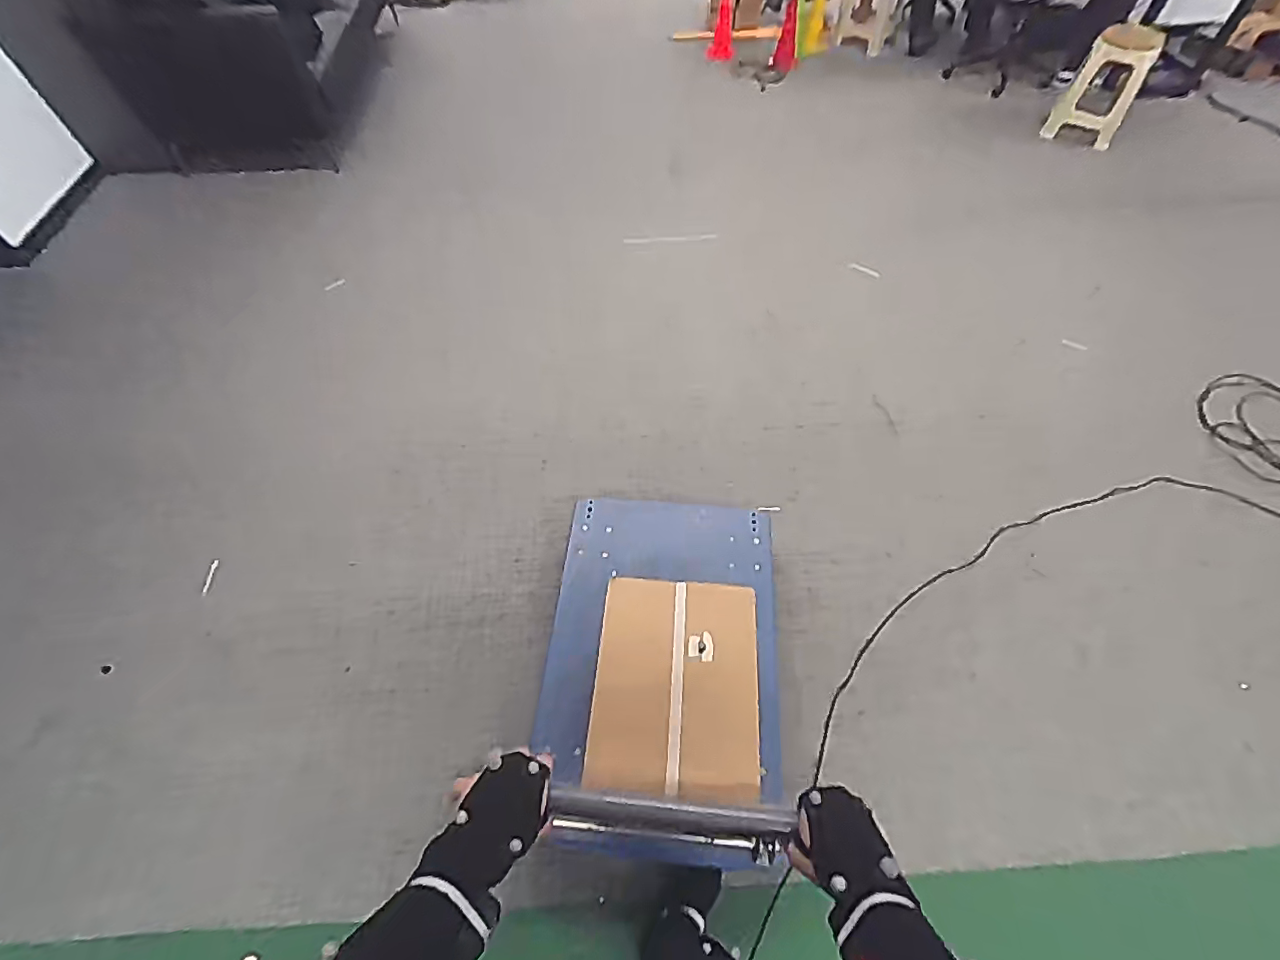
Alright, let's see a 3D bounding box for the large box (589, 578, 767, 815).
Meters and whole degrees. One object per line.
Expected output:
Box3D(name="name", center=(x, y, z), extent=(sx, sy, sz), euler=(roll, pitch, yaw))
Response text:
Box3D(name="large box", center=(0.079, 0.465, 1.153), extent=(0.320, 0.320, 0.408), euler=(4, 56, 3))
